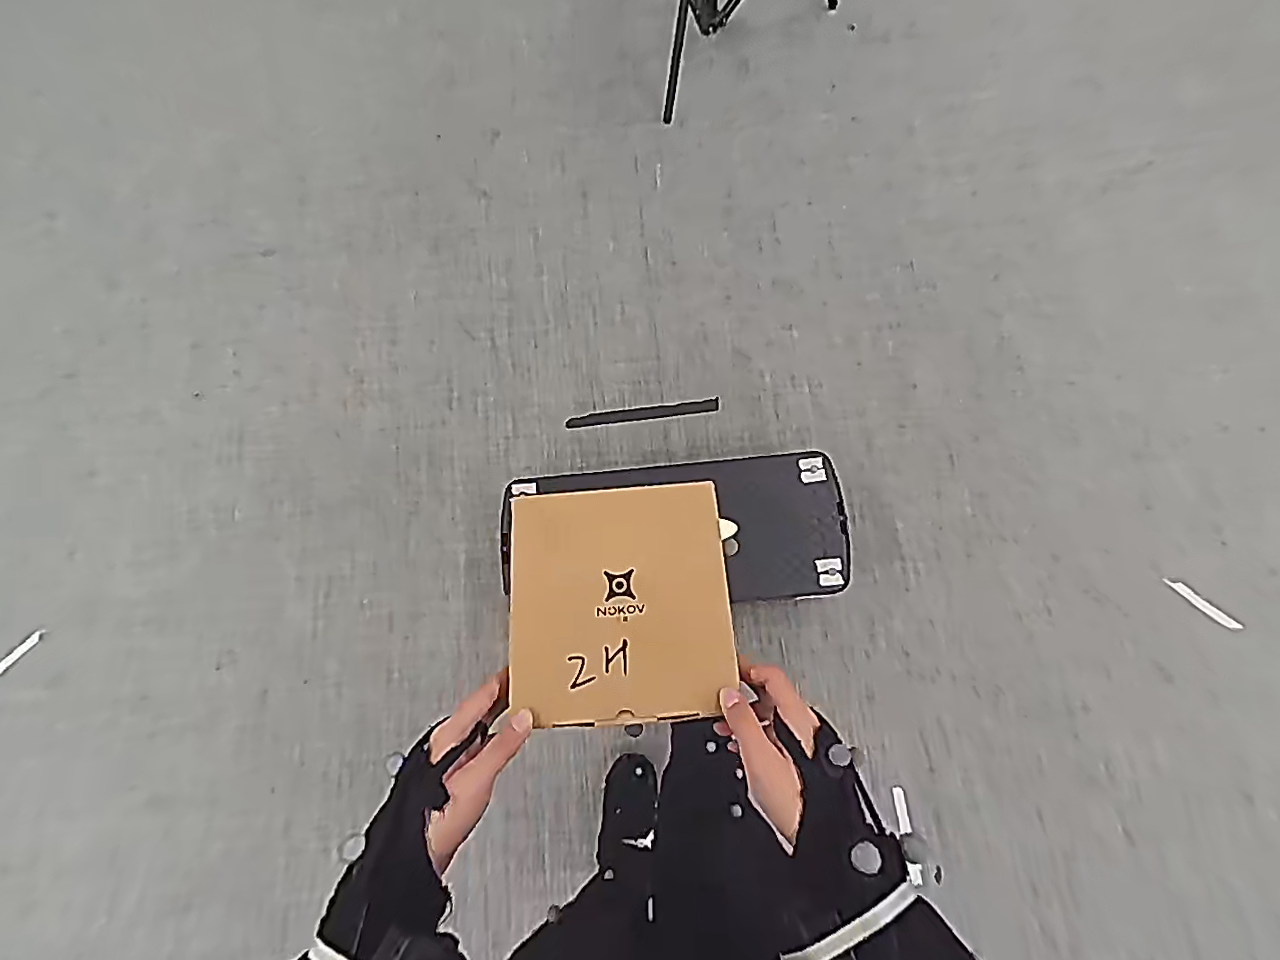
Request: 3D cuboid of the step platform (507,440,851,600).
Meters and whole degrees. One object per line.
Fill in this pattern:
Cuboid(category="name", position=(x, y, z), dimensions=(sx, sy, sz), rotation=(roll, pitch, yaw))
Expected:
Cuboid(category="step platform", position=(0.074, 0.099, 1.125), dimensions=(0.684, 0.204, 0.286), rotation=(-6, 77, 2))

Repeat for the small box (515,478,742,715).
Cuboid(category="small box", position=(-0.010, 0.113, 0.491), dimensions=(0.168, 0.176, 0.179), rotation=(-5, 69, 1))
